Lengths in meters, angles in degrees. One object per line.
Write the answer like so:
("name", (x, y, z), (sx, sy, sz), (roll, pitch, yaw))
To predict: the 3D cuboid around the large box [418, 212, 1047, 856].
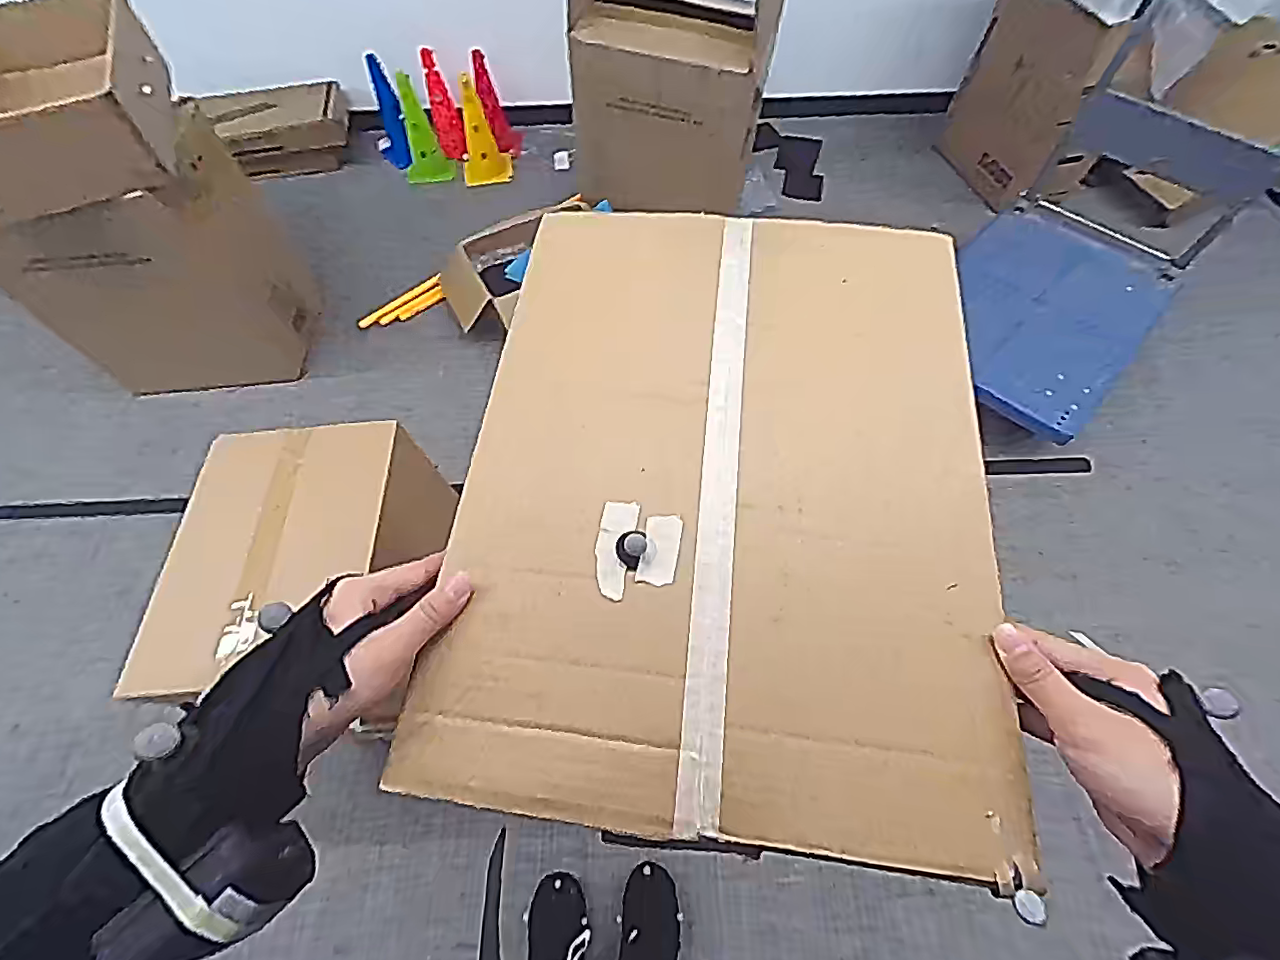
("large box", (0.061, 0.040, 0.474), (0.320, 0.320, 0.408), (5, 66, 5))
